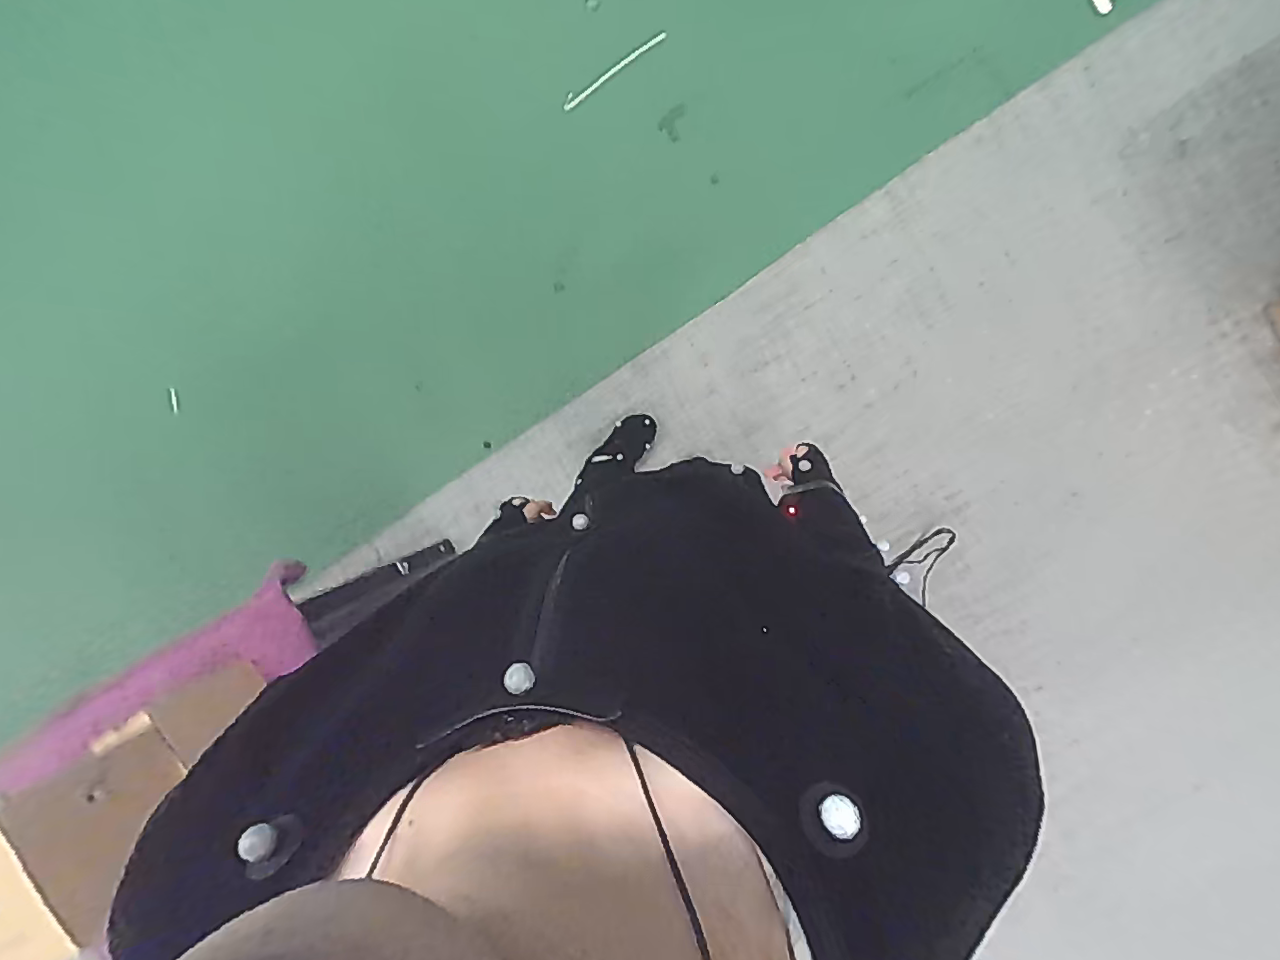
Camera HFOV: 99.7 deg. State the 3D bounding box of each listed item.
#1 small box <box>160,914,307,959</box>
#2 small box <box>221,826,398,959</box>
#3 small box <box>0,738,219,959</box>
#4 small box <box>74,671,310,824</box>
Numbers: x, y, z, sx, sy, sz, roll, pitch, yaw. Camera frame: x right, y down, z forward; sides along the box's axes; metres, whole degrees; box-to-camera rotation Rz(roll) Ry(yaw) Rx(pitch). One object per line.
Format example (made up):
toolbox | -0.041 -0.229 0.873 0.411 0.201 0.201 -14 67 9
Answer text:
small box | -0.518 0.665 0.641 0.168 0.176 0.179 -24 93 9
small box | -0.508 0.675 0.807 0.179 0.176 0.168 -38 90 9
small box | -0.666 0.440 0.639 0.168 0.176 0.179 -30 92 8
small box | -0.647 0.411 0.800 0.168 0.176 0.179 -36 90 9
